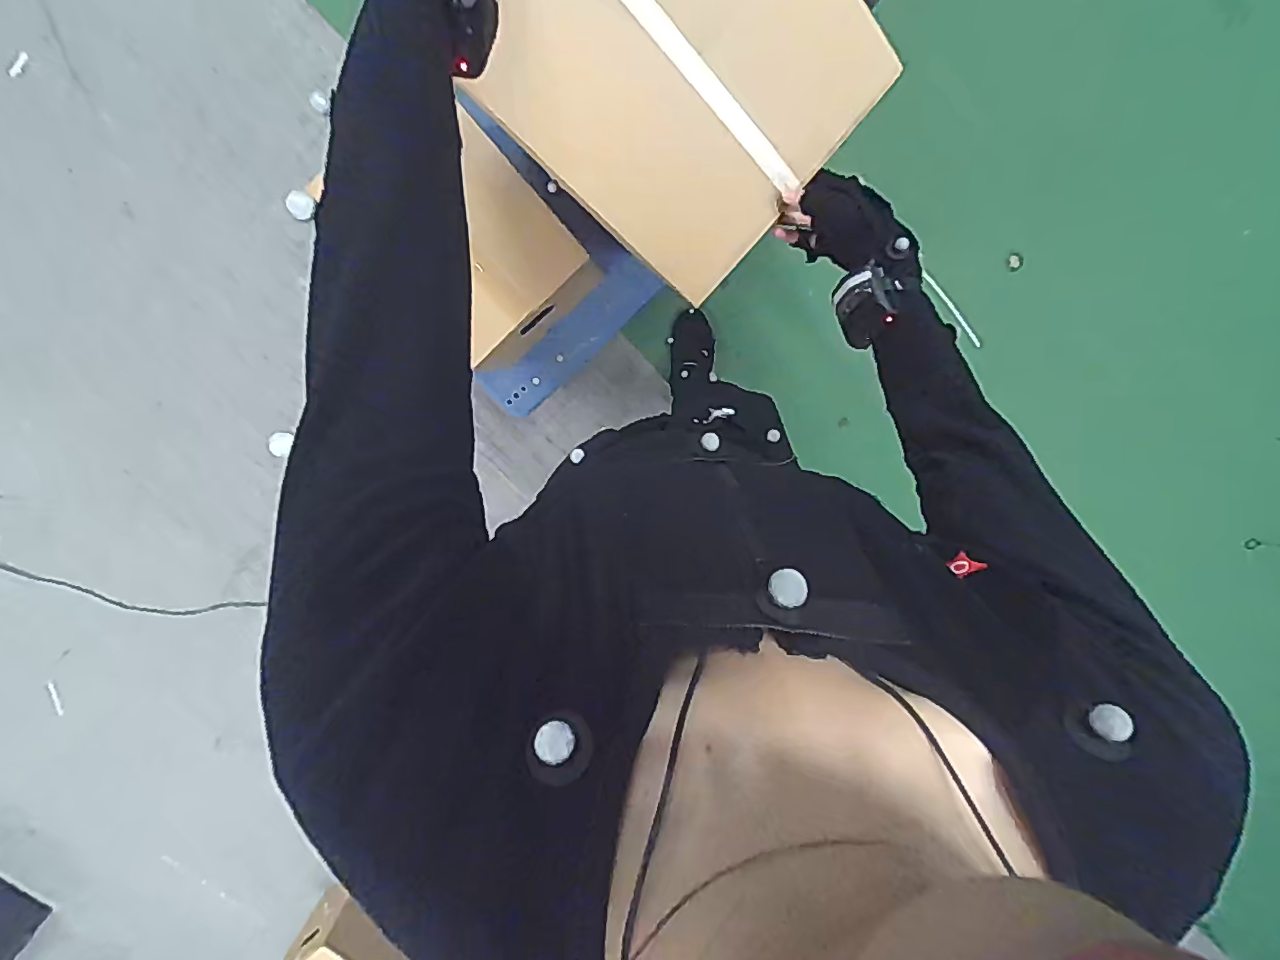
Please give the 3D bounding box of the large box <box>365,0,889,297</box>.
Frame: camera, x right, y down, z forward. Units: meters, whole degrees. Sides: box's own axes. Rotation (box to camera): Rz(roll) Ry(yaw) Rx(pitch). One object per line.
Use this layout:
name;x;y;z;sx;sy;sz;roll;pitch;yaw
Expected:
large box;-0.012;-0.487;0.633;0.408;0.320;0.320;36;107;-24
